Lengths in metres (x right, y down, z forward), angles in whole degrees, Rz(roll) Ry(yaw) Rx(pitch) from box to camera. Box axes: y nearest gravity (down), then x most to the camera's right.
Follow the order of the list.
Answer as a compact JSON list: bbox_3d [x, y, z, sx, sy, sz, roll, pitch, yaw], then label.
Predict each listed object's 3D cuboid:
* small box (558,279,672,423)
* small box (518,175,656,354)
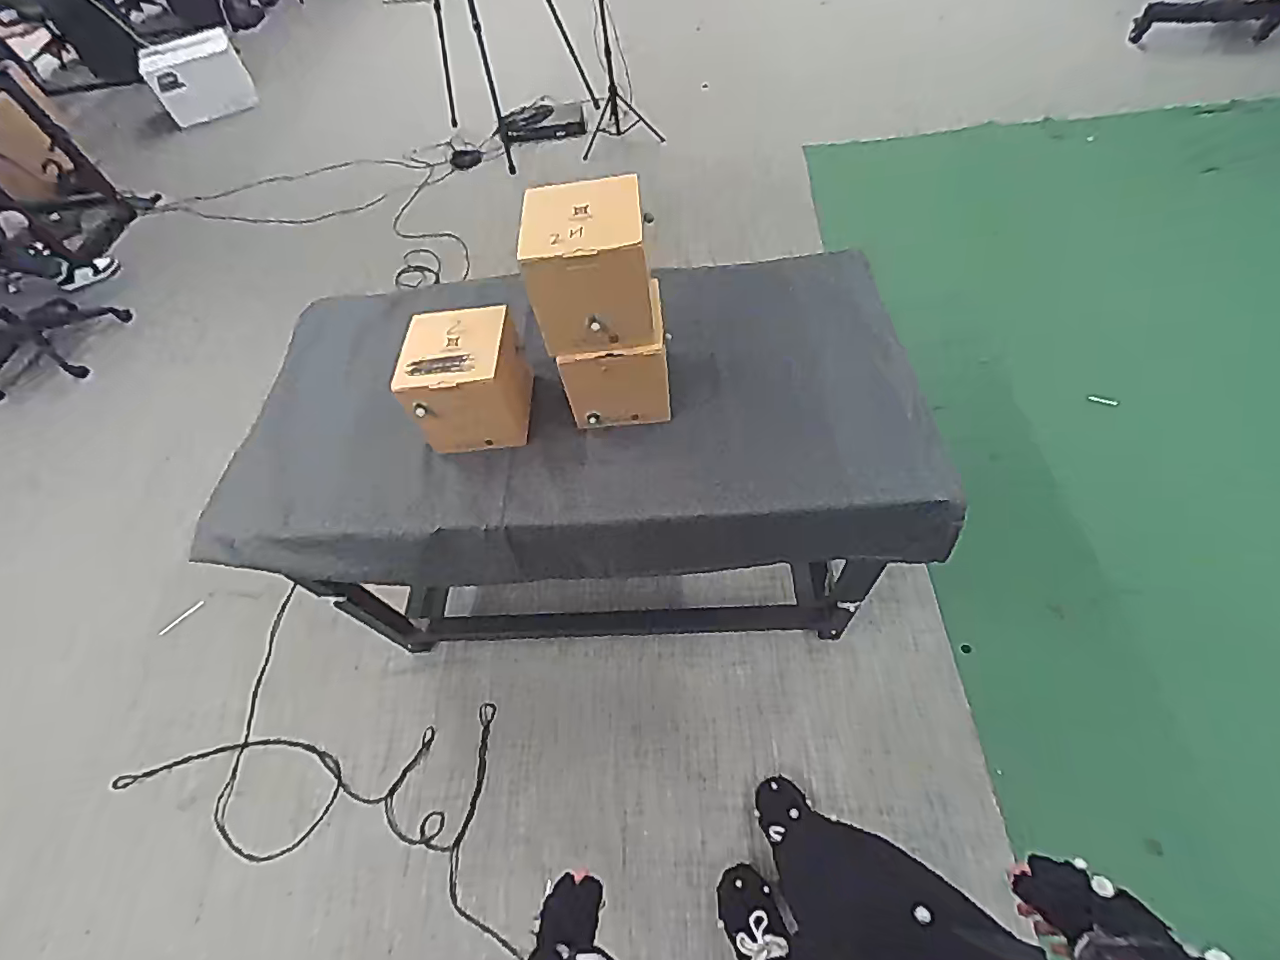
[{"bbox_3d":[-0.036,-0.211,0.923,0.168,0.176,0.179,-5,56,5],"label":"small box"},{"bbox_3d":[-0.069,-0.312,0.796,0.168,0.176,0.179,-6,57,5],"label":"small box"}]
